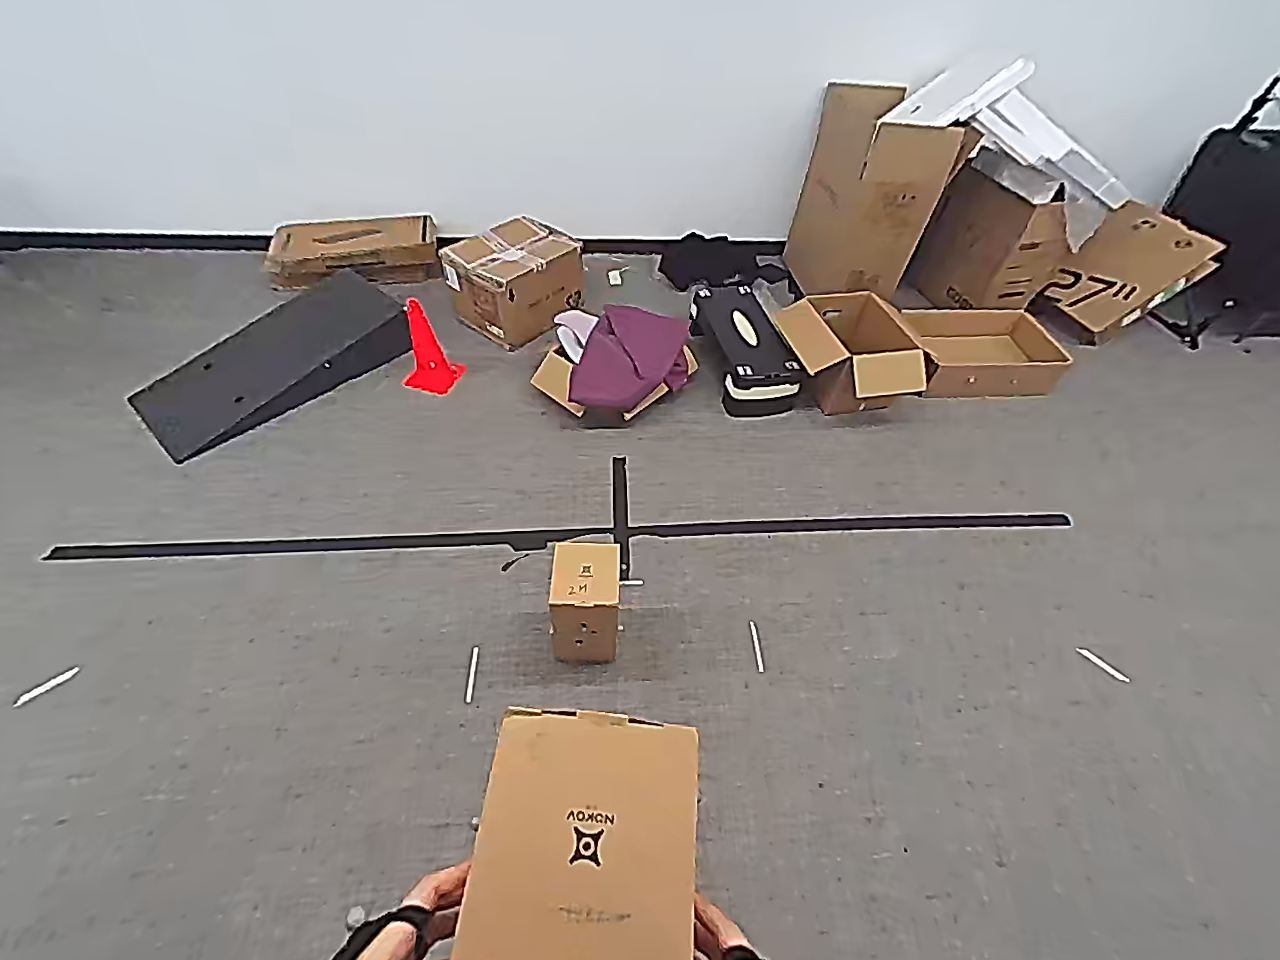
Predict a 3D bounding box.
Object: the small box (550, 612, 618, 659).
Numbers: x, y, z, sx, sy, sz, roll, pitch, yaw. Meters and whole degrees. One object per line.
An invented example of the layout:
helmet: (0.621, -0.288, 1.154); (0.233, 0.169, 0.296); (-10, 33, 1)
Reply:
small box: (-0.147, 0.387, 1.499); (0.179, 0.176, 0.168); (2, 50, -2)

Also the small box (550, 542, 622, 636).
small box: (-0.133, 0.277, 1.378); (0.168, 0.176, 0.179); (2, 50, -2)
